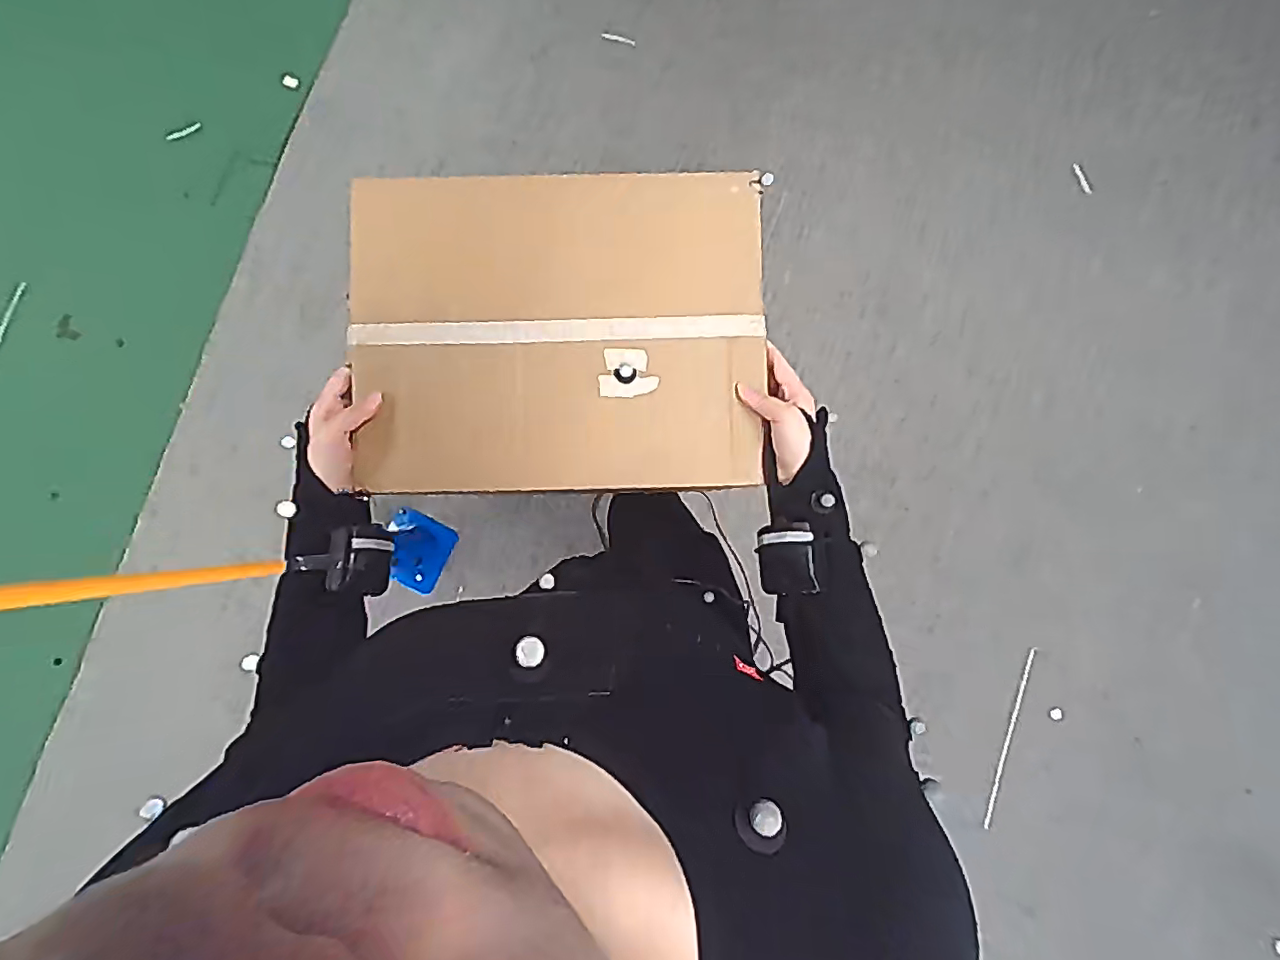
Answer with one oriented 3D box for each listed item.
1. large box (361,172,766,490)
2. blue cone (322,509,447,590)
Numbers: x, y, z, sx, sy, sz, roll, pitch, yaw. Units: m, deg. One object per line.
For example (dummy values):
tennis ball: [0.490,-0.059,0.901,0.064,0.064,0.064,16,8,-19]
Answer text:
large box: [-0.082,-0.150,0.687,0.408,0.320,0.320,-1,89,-2]
blue cone: [-0.667,0.184,1.377,0.192,0.380,0.193,27,86,6]
